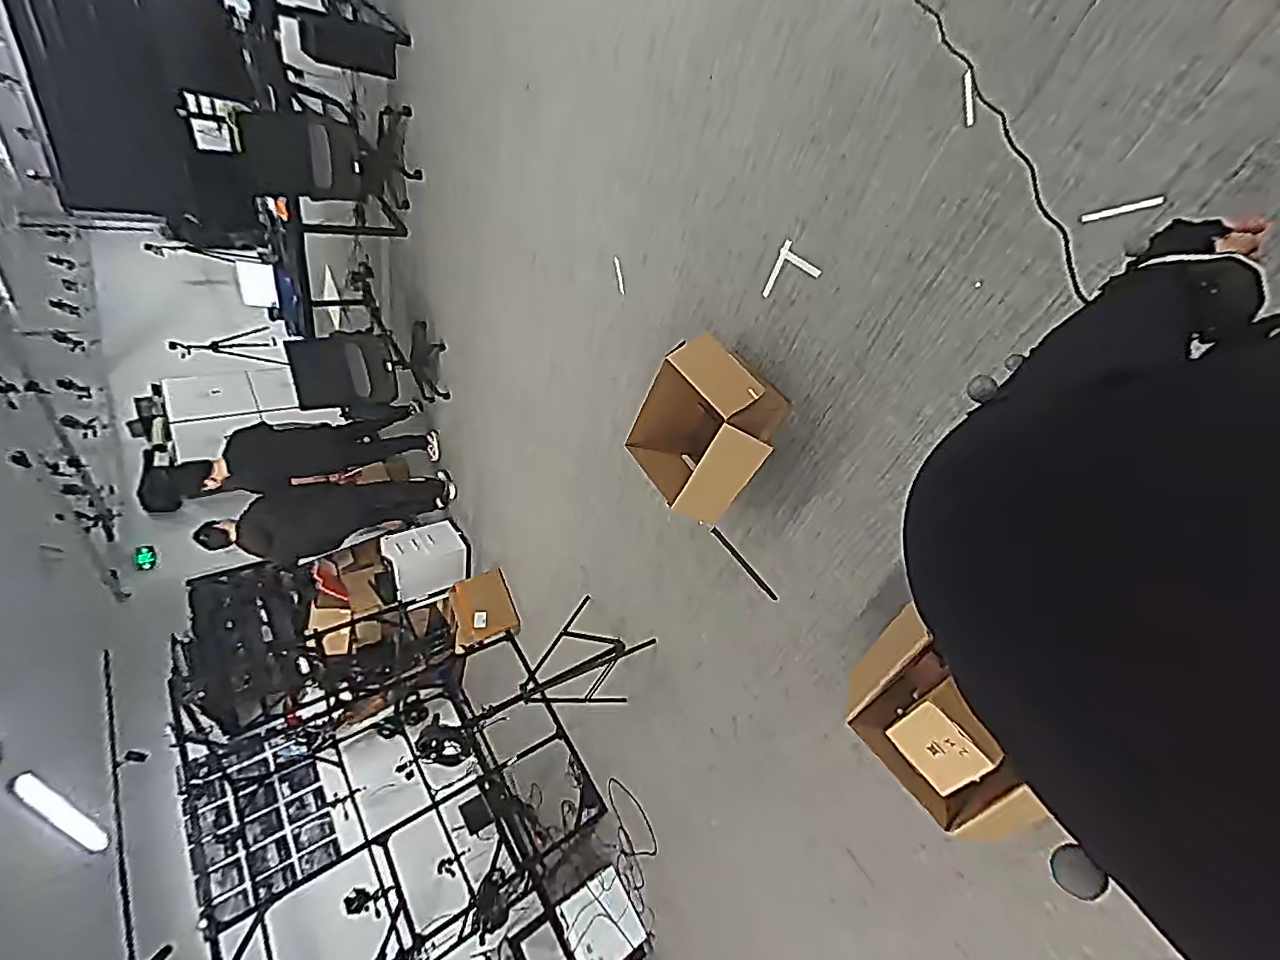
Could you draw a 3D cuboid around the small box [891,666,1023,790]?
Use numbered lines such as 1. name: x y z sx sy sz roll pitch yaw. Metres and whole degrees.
1. small box: 0.725 0.563 1.237 0.168 0.176 0.179 49 137 30
